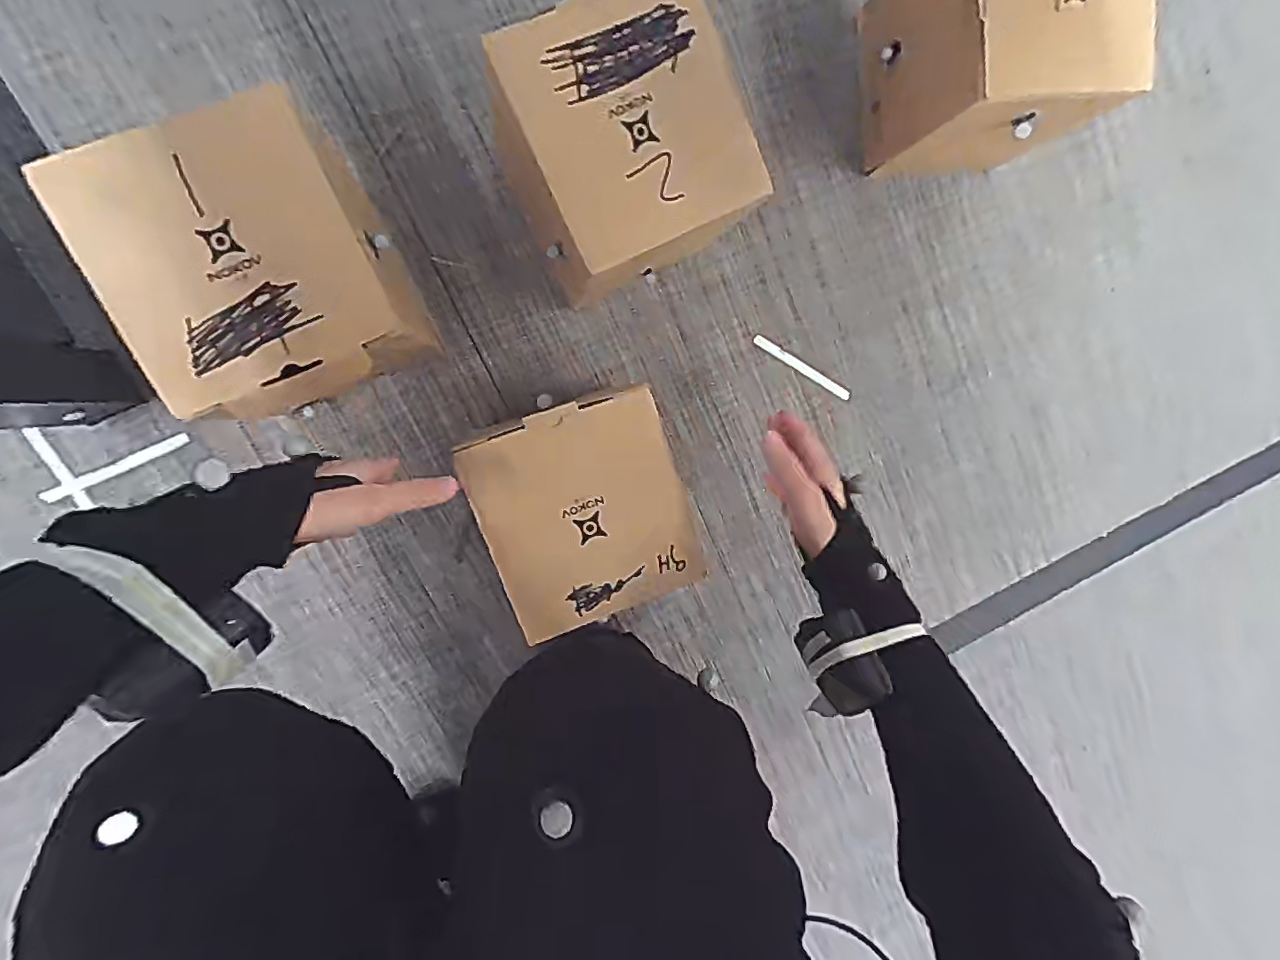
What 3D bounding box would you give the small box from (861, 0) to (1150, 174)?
[{"bbox_3d":[0.346,-0.423,0.532,0.179,0.176,0.168,-9,101,-9],"label":"small box"}]
